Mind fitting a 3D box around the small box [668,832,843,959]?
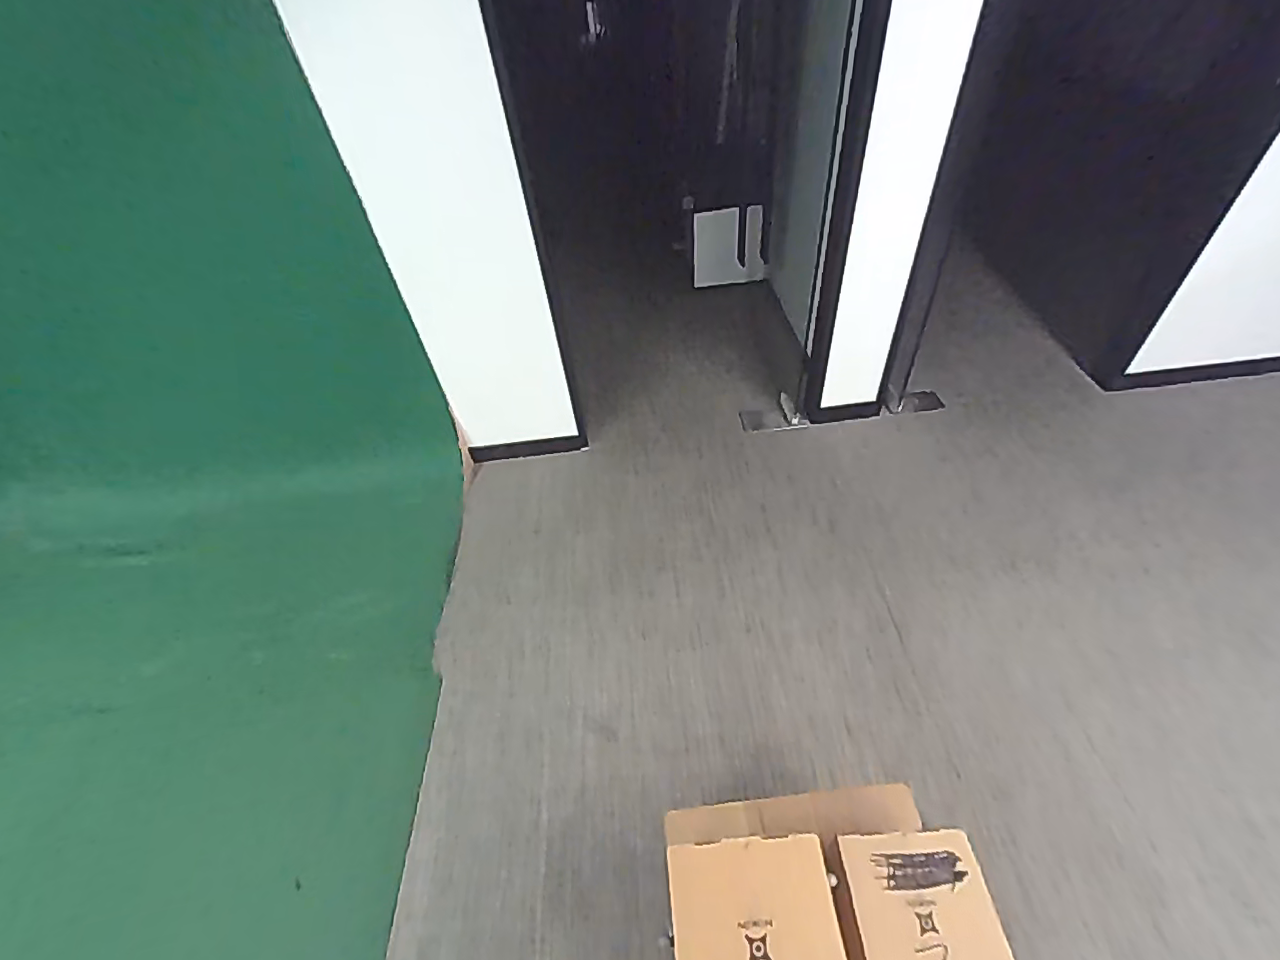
[{"bbox_3d":[0.124,0.512,0.599,0.168,0.176,0.179,-6,48,1],"label":"small box"}]
